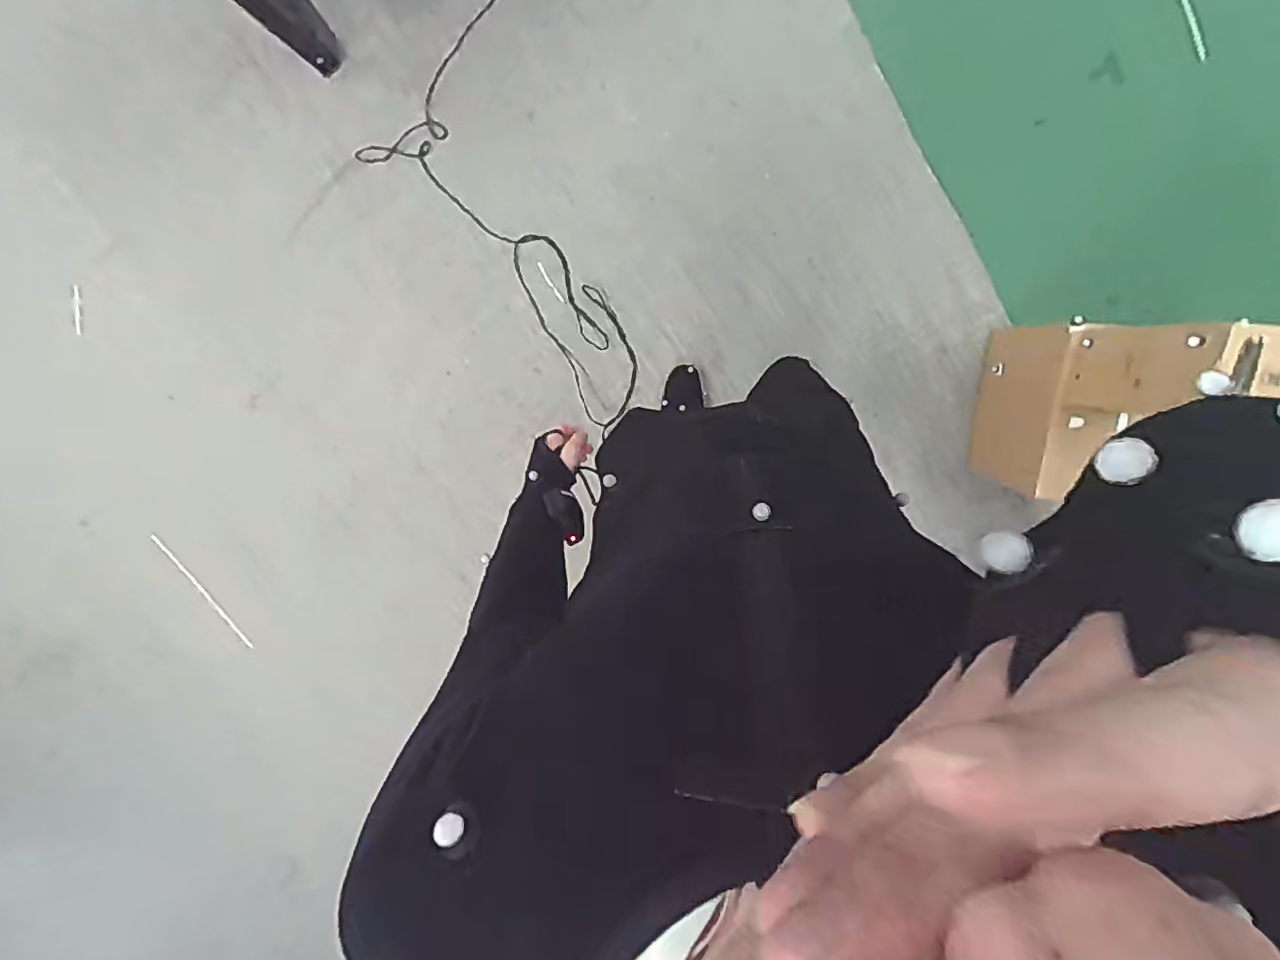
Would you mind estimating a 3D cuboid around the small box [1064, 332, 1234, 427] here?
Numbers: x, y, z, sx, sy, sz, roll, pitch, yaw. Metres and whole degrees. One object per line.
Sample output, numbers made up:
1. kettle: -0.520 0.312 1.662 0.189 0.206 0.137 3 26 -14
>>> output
1. small box: 1.043 -0.211 1.128 0.179 0.176 0.168 7 104 1
